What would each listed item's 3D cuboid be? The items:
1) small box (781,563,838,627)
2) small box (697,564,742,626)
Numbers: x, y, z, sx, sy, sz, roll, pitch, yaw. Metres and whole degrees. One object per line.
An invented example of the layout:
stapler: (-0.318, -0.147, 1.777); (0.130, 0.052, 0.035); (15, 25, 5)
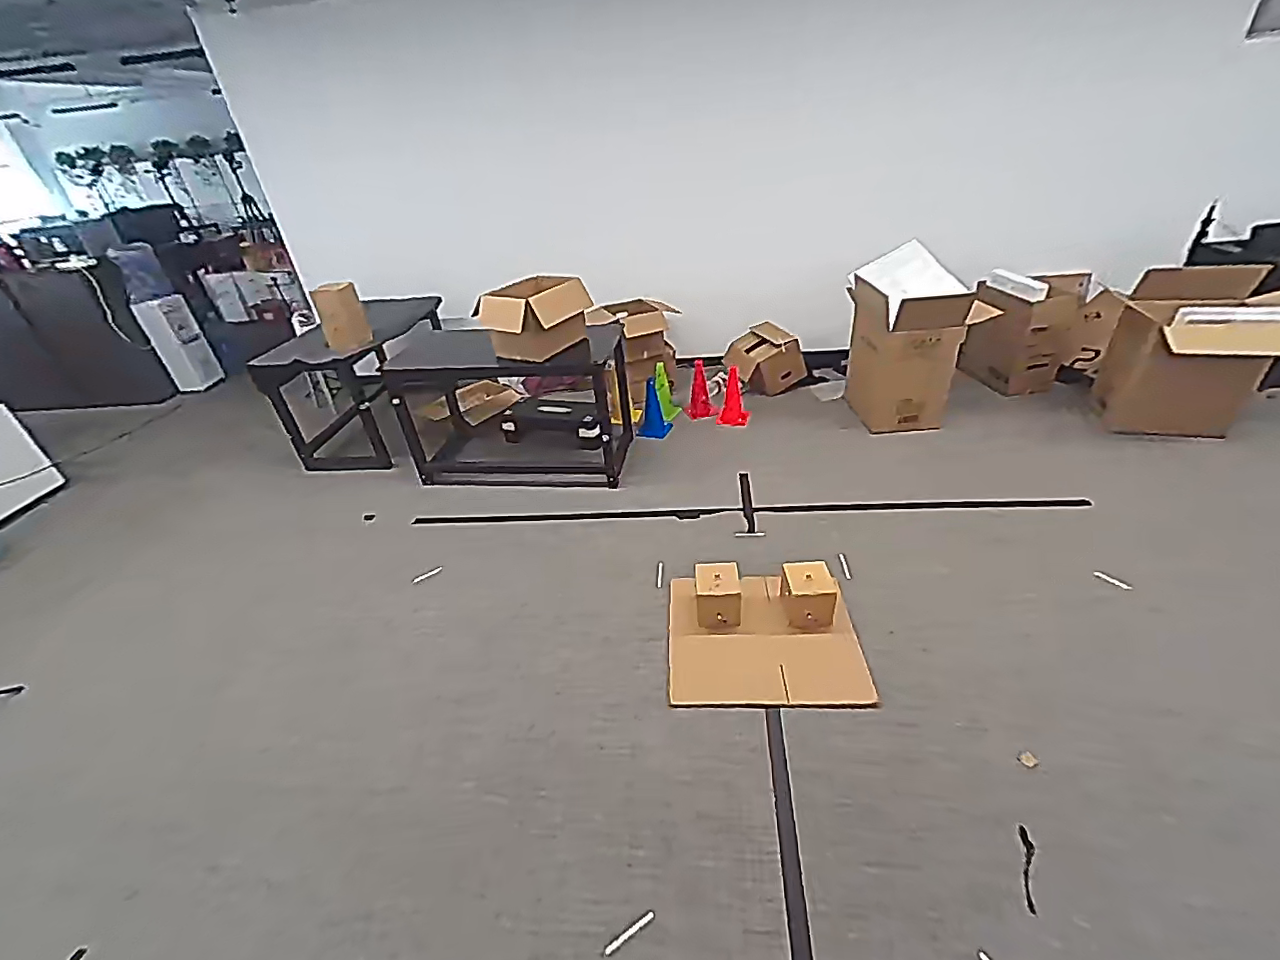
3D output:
small box: (0.651, 0.447, 2.097); (0.168, 0.176, 0.179); (-4, 33, 2)
small box: (0.309, 0.454, 2.129); (0.168, 0.176, 0.179); (-3, 34, 6)
